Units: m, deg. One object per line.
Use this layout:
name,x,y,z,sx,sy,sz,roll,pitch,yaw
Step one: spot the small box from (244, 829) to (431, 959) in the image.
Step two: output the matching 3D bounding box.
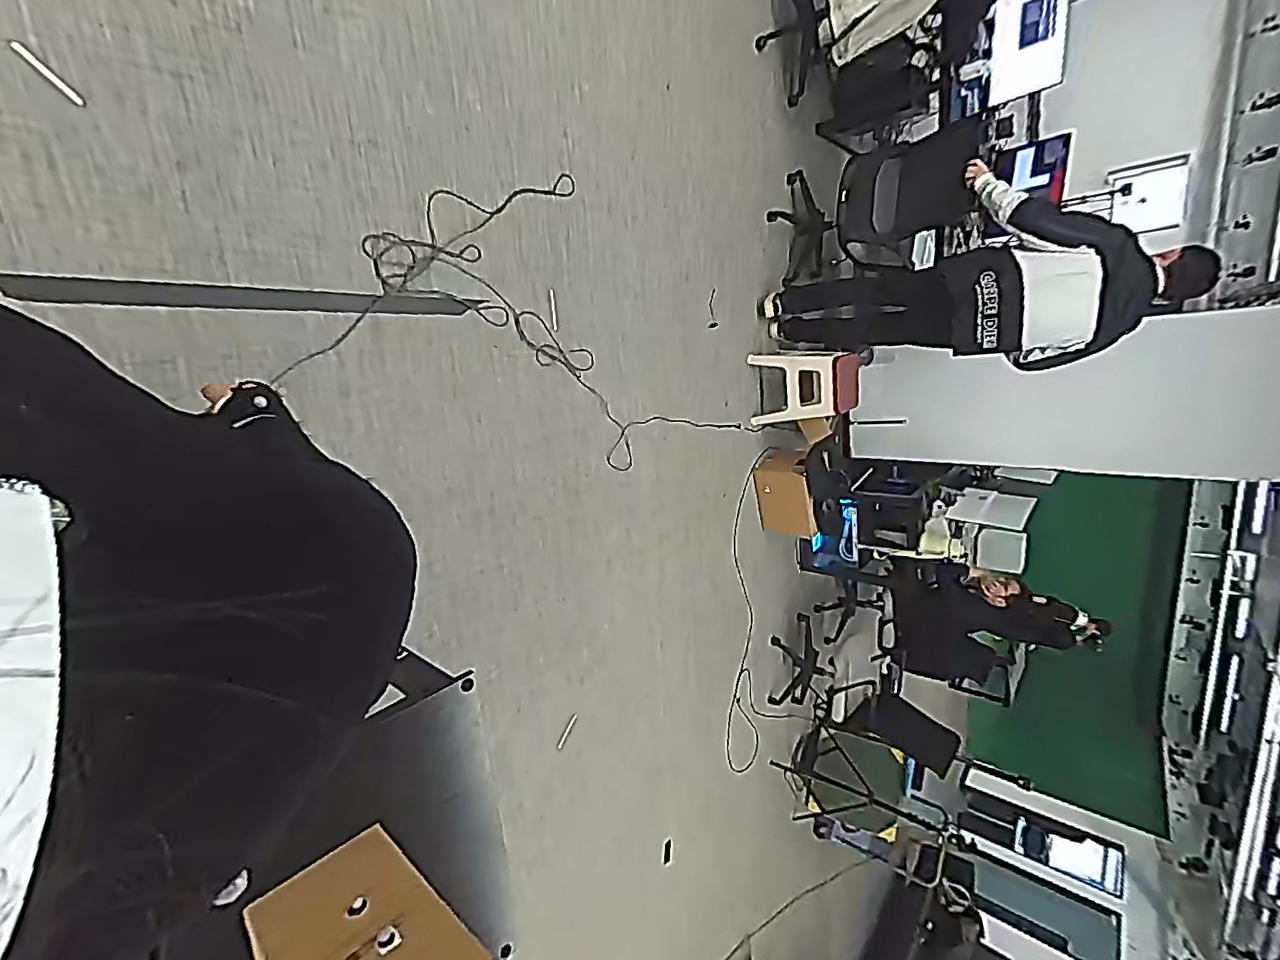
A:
small box,-0.397,0.625,0.730,0.179,0.176,0.168,-16,106,-46

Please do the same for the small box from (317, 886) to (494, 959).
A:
small box,-0.273,0.635,0.625,0.168,0.176,0.179,-19,107,-48
